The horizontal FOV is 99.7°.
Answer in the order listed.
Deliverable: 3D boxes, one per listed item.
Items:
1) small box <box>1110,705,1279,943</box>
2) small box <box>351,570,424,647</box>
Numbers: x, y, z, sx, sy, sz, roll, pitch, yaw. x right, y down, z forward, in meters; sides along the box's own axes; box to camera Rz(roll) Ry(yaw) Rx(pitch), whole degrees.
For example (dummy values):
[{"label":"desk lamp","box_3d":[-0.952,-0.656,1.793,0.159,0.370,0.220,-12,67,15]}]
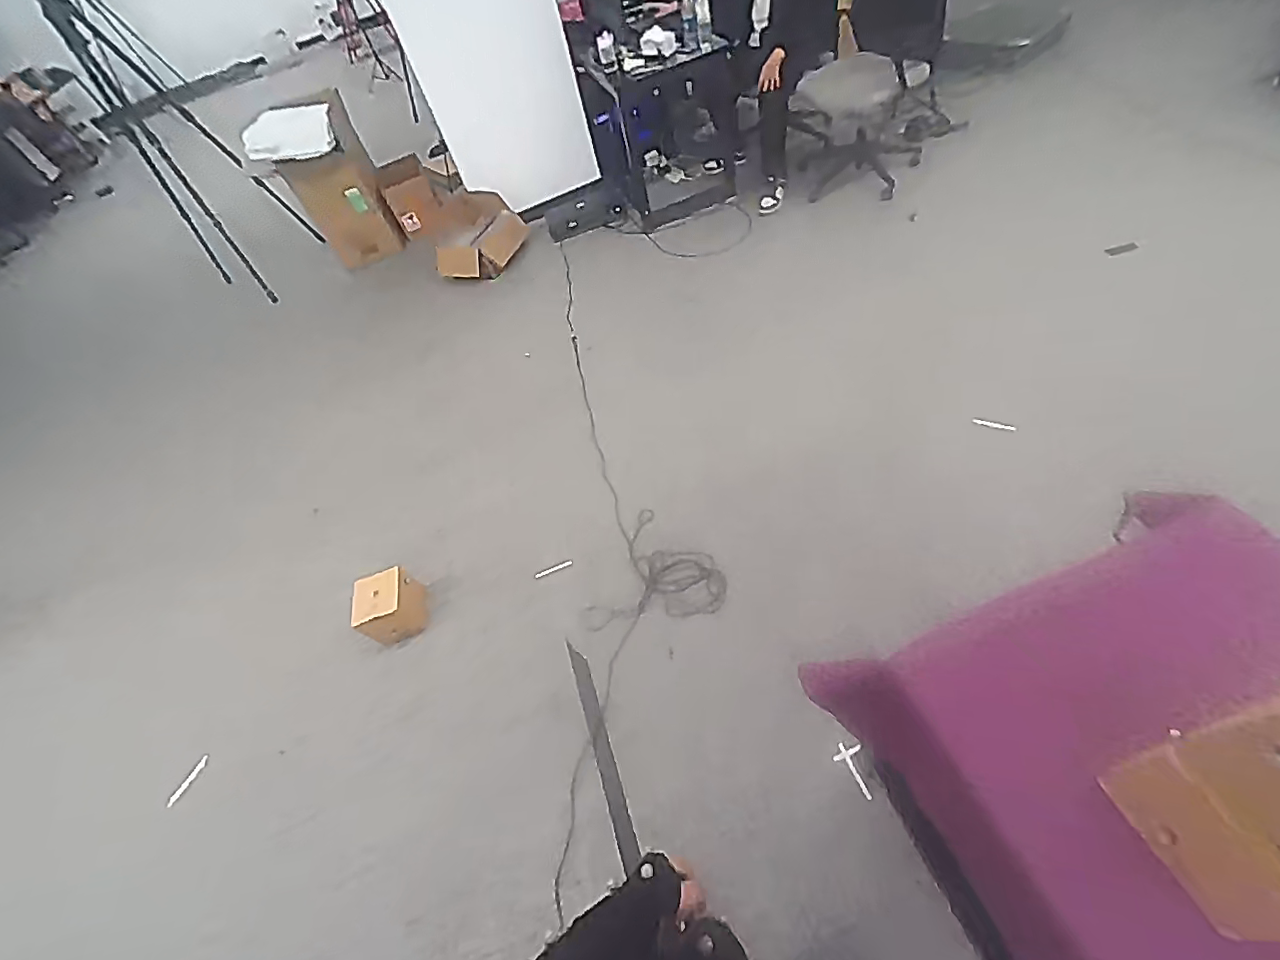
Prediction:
[{"label":"small box","box_3d":[0.669,0.356,0.573,0.179,0.176,0.168,-24,52,-2]},{"label":"small box","box_3d":[-0.857,0.442,1.852,0.168,0.176,0.179,-20,51,1]}]
